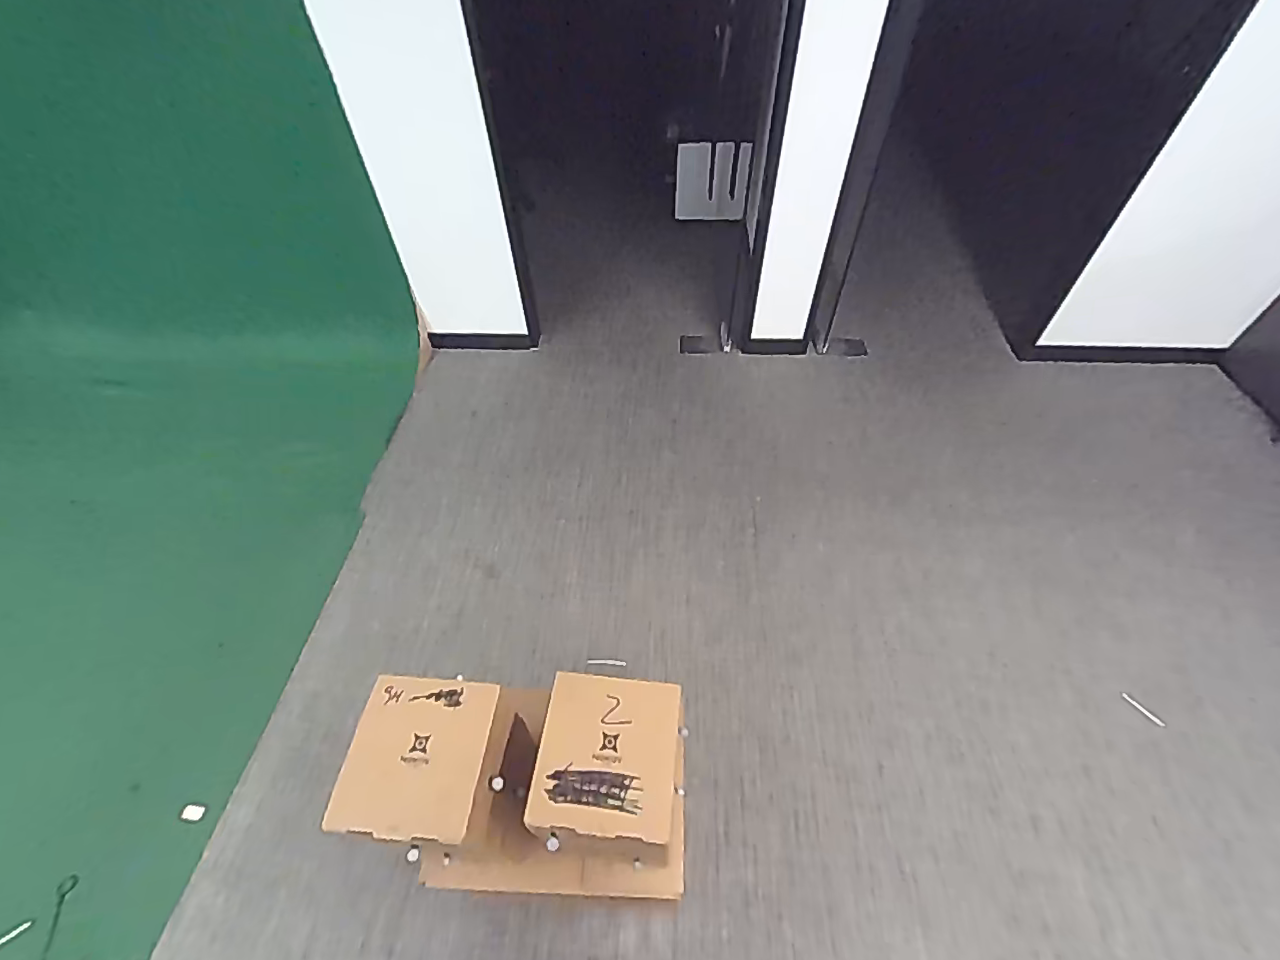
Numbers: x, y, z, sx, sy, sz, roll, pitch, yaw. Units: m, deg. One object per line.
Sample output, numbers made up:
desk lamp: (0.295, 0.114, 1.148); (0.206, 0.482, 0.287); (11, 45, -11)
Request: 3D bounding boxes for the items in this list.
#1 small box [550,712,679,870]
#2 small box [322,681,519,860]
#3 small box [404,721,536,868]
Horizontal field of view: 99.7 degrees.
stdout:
small box: (-0.027, 0.482, 0.833); (0.168, 0.176, 0.179); (4, 50, 6)
small box: (-0.266, 0.383, 0.709); (0.168, 0.176, 0.179); (4, 52, 3)
small box: (-0.264, 0.484, 0.839); (0.168, 0.176, 0.179); (3, 51, 3)
